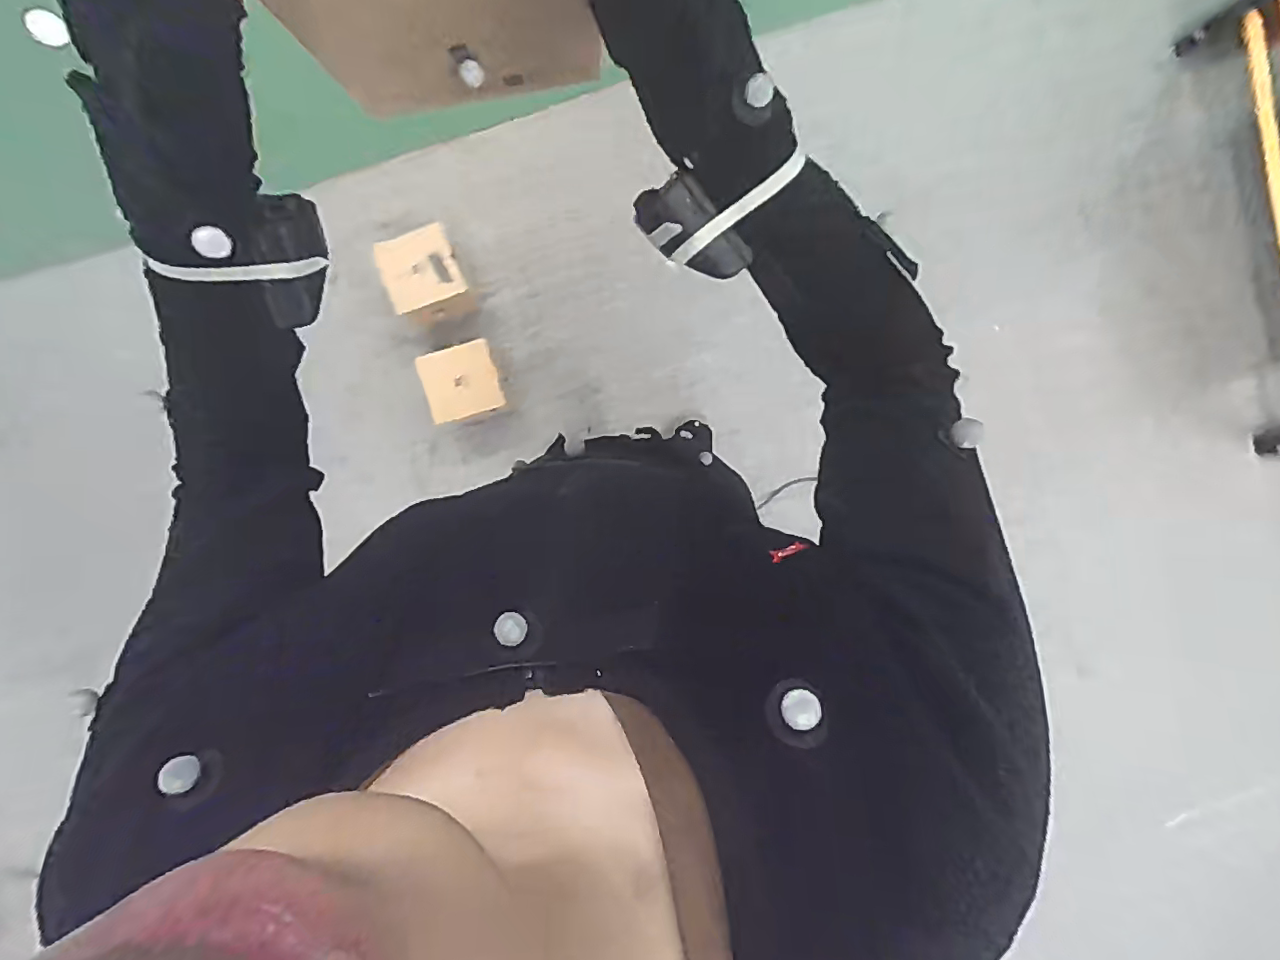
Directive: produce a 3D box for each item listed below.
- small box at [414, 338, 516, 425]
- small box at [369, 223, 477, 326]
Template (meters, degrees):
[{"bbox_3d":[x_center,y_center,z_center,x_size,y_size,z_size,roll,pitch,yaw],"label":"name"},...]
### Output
[{"bbox_3d":[-0.427,-0.238,1.350,0.179,0.176,0.168,-18,96,-1],"label":"small box"},{"bbox_3d":[-0.513,-0.491,1.318,0.179,0.176,0.168,-21,97,0],"label":"small box"}]
